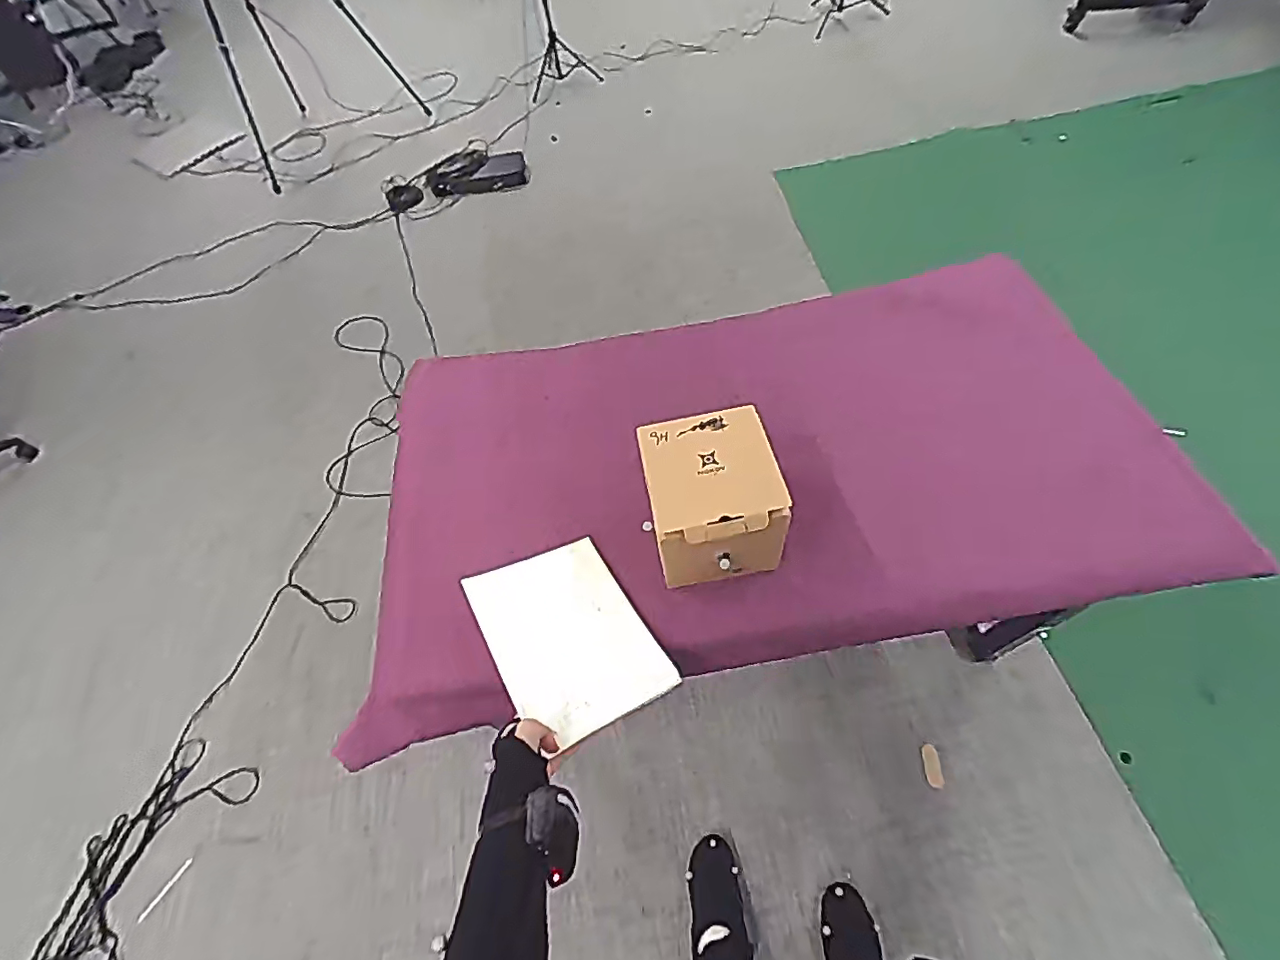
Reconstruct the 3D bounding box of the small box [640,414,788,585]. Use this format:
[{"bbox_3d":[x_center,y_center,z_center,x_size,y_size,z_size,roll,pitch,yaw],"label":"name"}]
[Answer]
[{"bbox_3d":[0.099,0.037,0.763,0.168,0.176,0.179,-10,57,1],"label":"small box"}]
